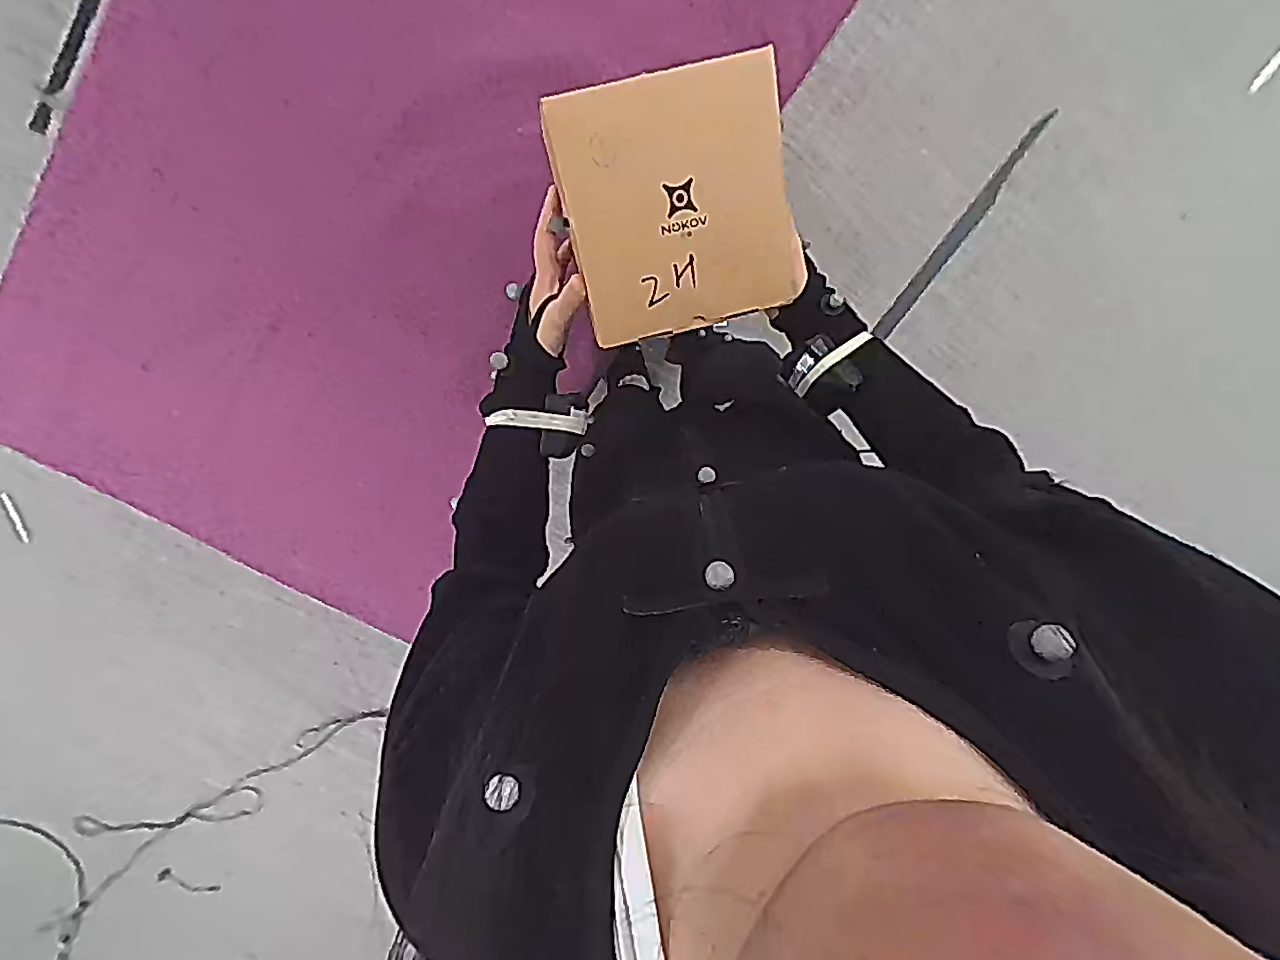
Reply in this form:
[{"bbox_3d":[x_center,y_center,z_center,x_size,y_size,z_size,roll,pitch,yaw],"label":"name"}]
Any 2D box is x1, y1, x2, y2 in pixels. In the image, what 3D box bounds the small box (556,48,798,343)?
[{"bbox_3d":[0.024,-0.236,0.477,0.168,0.176,0.179,-13,116,-2],"label":"small box"}]
